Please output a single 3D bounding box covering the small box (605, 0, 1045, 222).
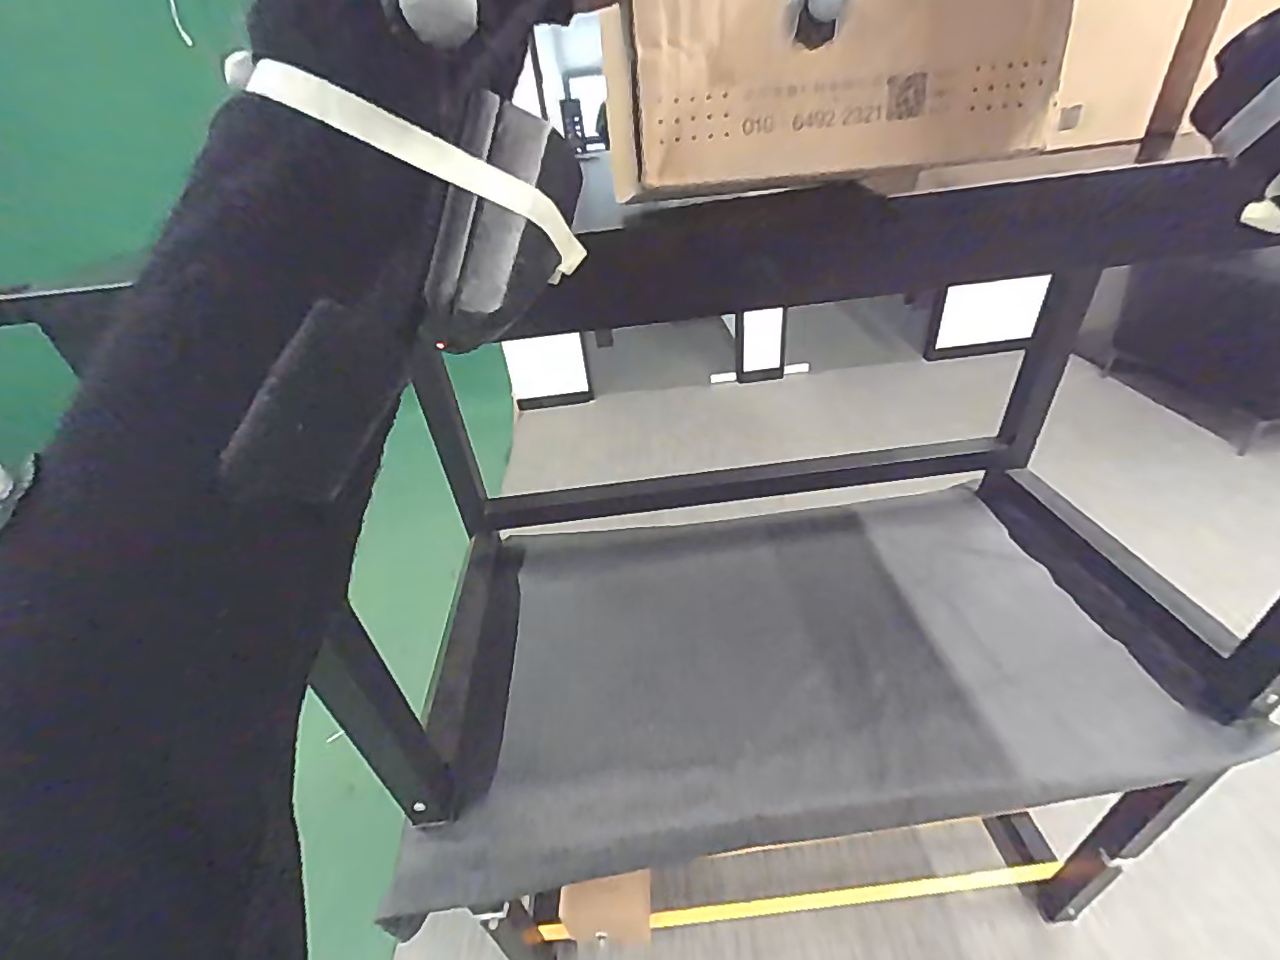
[{"bbox_3d":[0.067,-0.228,0.270,0.168,0.176,0.179,-7,26,-2],"label":"small box"}]
